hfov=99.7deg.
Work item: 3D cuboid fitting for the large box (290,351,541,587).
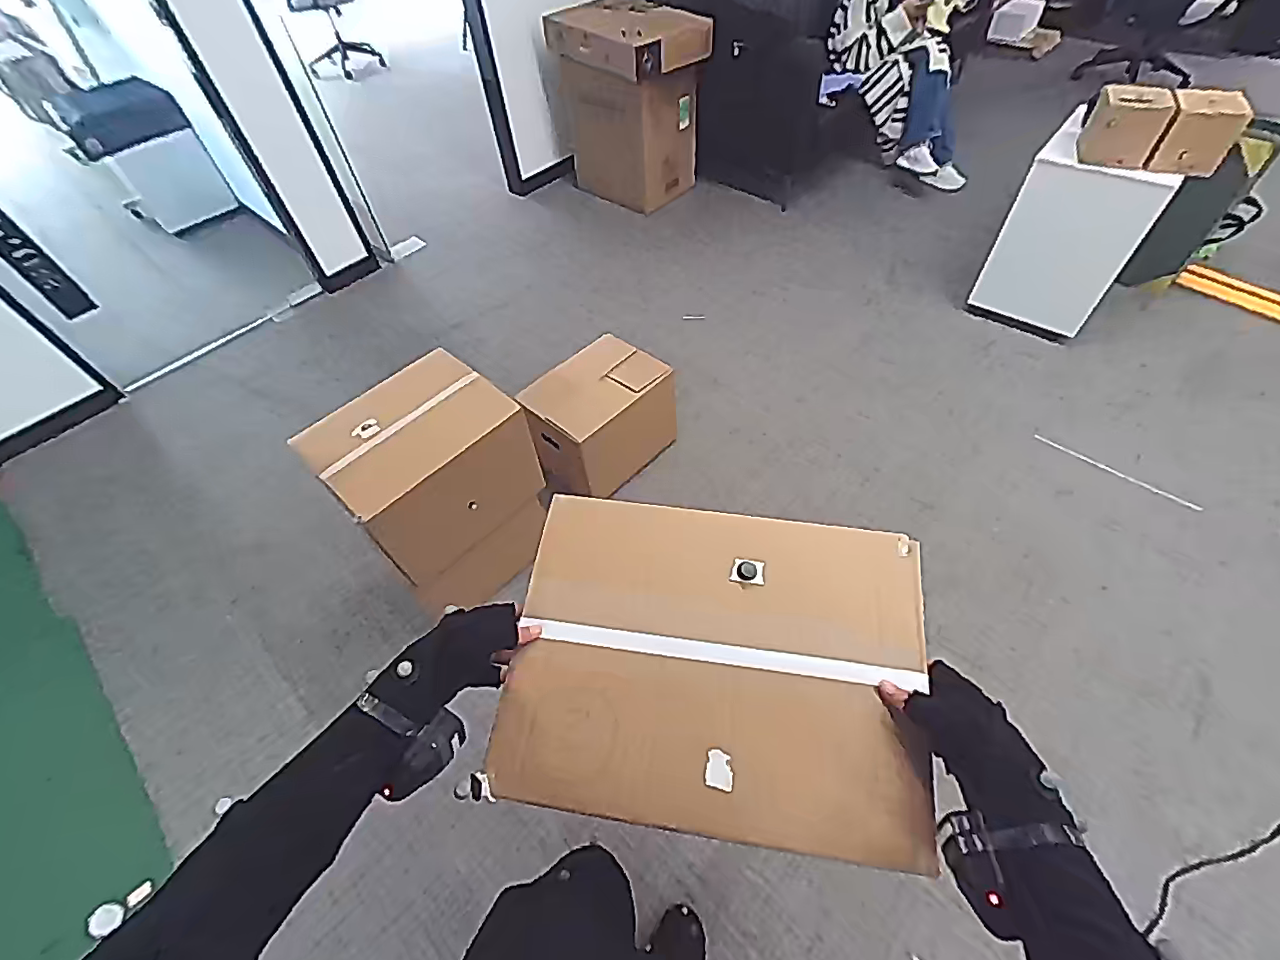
[{"bbox_3d":[-0.506,-0.028,1.300,0.320,0.320,0.408,36,64,24],"label":"large box"}]
